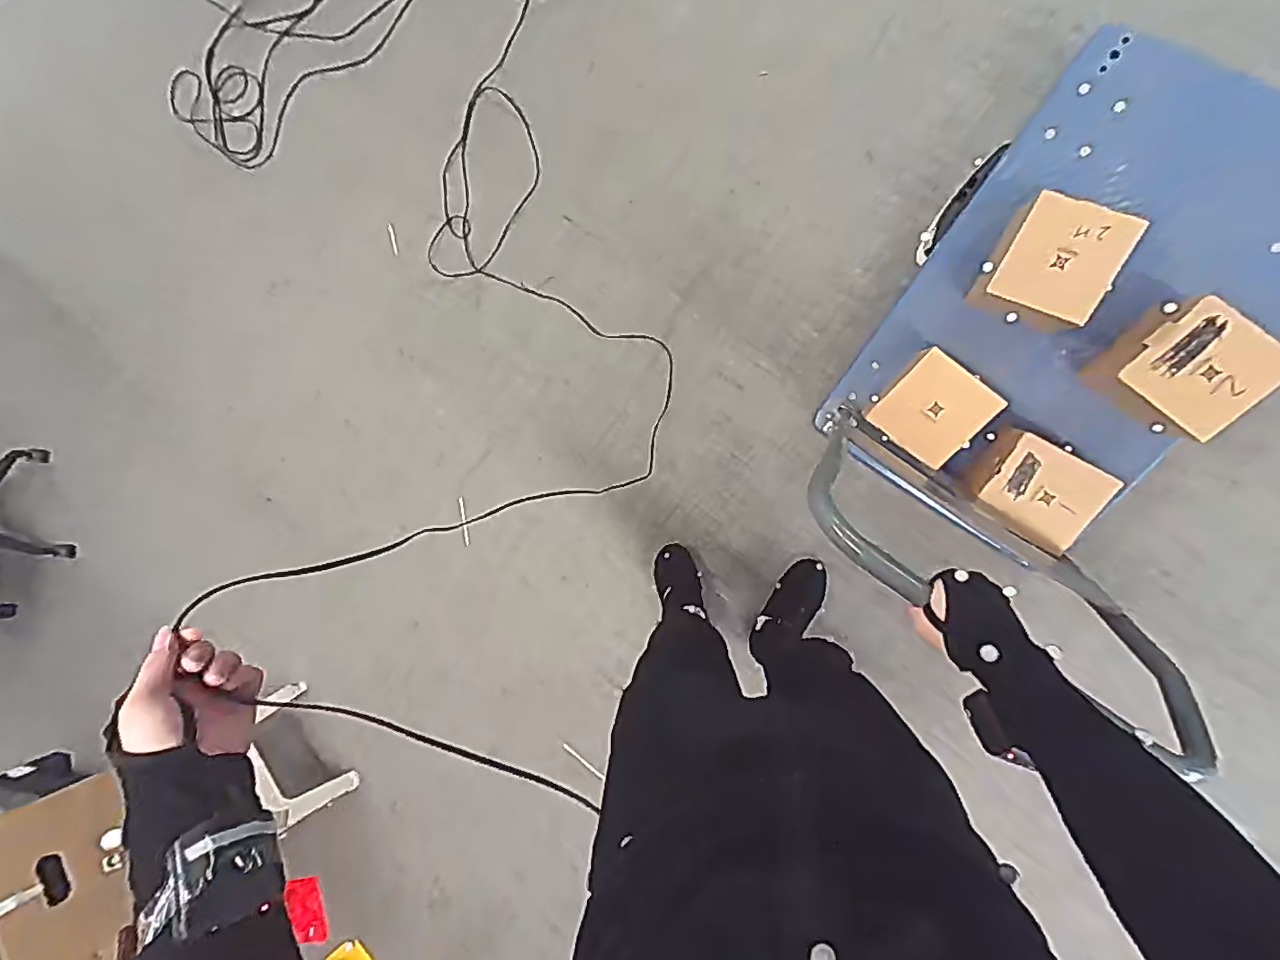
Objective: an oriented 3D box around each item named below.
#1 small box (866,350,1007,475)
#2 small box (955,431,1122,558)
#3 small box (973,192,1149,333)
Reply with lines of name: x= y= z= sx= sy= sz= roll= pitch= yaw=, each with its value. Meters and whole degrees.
small box: x=0.573 y=-0.140 z=1.077 sx=0.168 sy=0.176 sz=0.179 roll=43 pitch=112 yaw=7
small box: x=0.747 y=0.017 z=1.041 sx=0.179 sy=0.176 sz=0.168 roll=33 pitch=110 yaw=11
small box: x=0.733 y=-0.377 z=0.972 sx=0.168 sy=0.176 sz=0.179 roll=28 pitch=108 yaw=12
